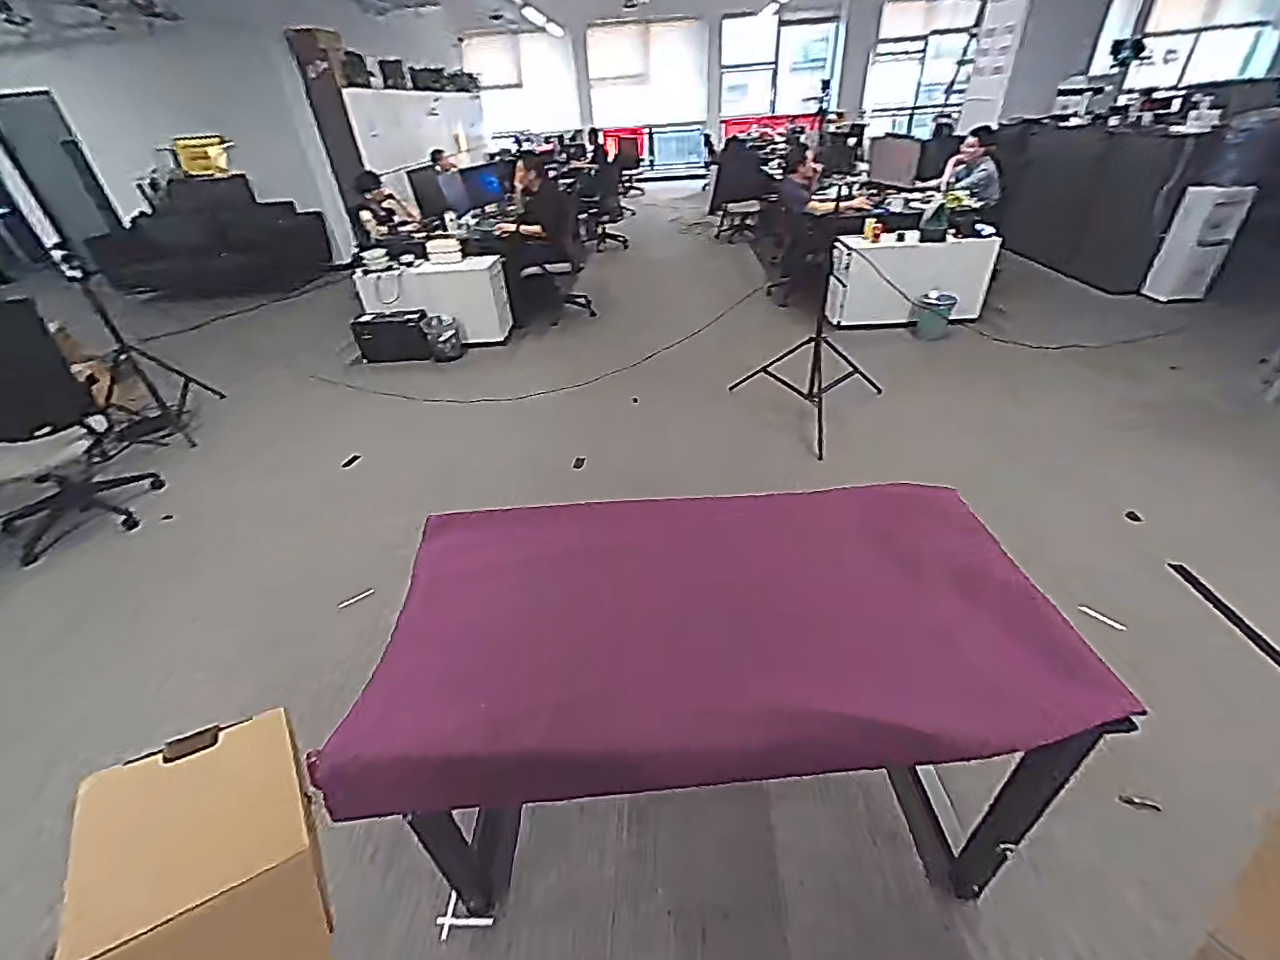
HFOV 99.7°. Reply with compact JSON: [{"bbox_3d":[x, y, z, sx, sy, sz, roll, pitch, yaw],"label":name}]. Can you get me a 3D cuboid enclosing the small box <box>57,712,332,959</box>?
[{"bbox_3d":[-0.417,0.378,0.531,0.168,0.176,0.179,-12,34,-34],"label":"small box"}]
